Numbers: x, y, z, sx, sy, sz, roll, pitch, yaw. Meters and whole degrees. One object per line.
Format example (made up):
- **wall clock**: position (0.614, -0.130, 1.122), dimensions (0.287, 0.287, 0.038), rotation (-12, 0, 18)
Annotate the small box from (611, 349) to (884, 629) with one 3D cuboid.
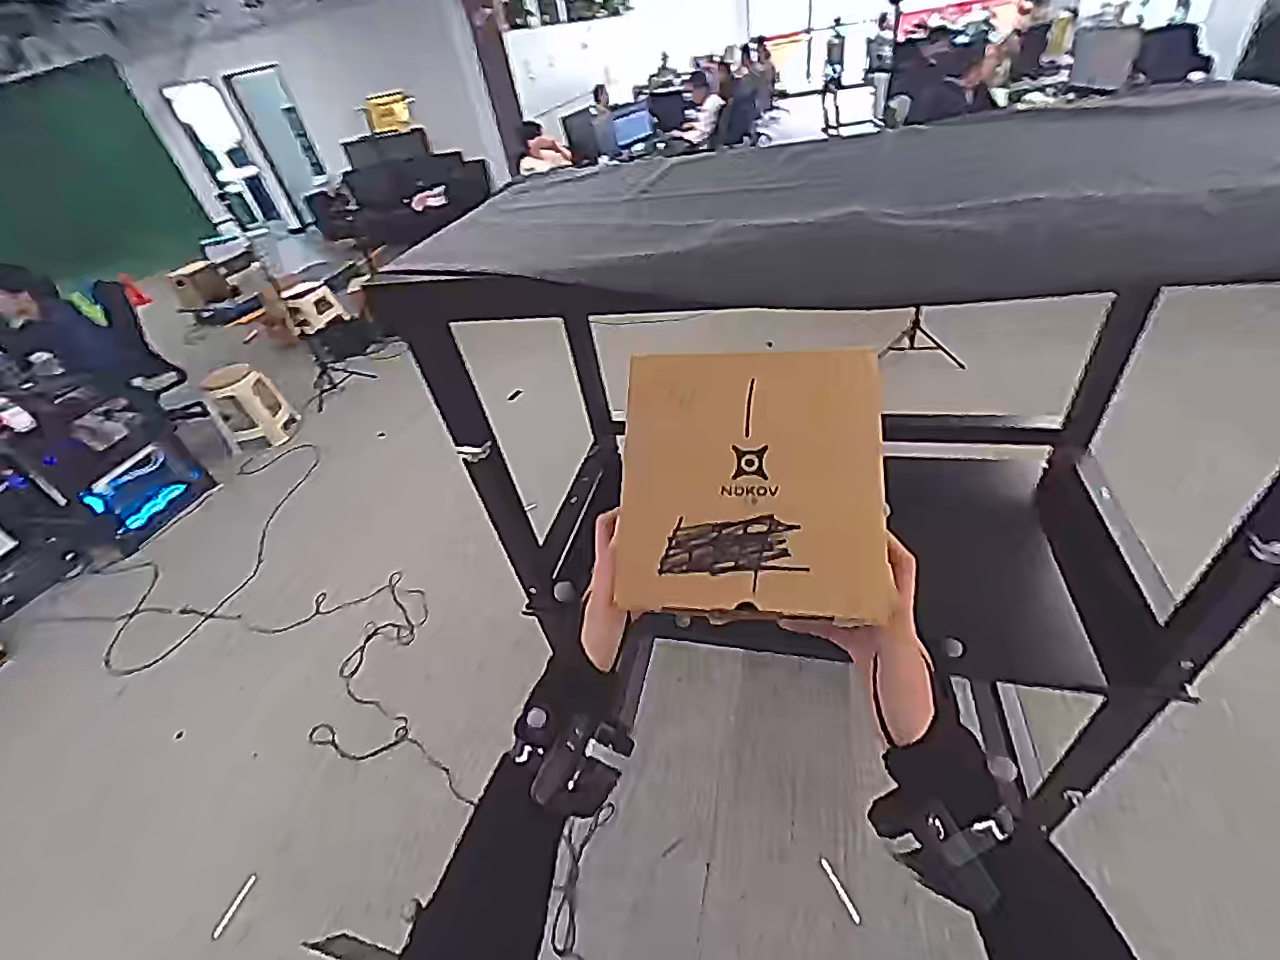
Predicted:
- **small box**: position (0.080, 0.016, 0.418), dimensions (0.168, 0.176, 0.179), rotation (1, 77, 10)
